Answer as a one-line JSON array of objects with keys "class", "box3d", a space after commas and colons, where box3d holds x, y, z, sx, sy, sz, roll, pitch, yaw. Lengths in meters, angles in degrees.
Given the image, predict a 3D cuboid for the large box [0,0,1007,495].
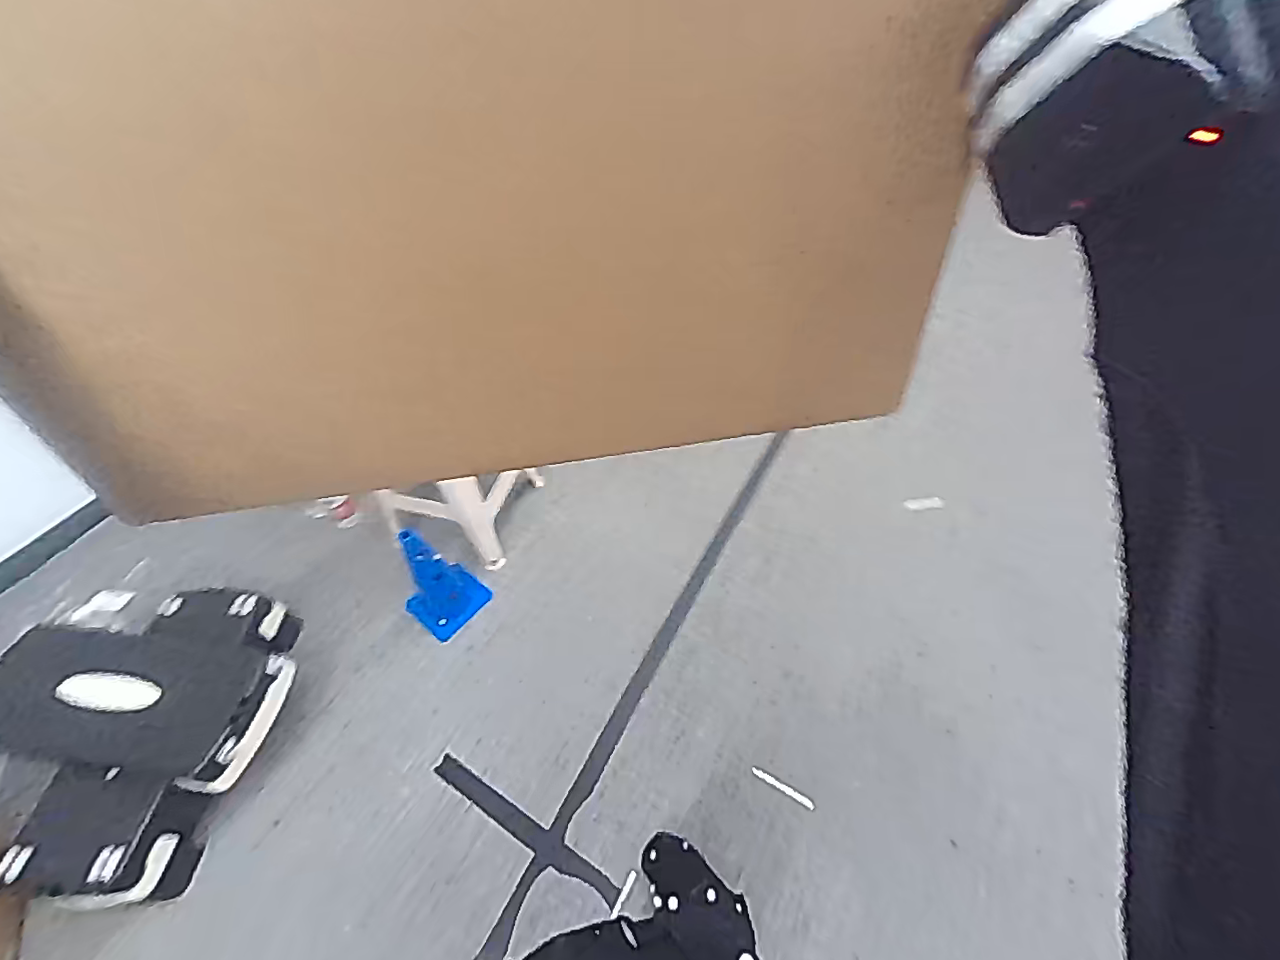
[{"class": "large box", "box3d": [-0.084, -0.223, 0.301, 0.408, 0.320, 0.320, -7, 42, -4]}]
